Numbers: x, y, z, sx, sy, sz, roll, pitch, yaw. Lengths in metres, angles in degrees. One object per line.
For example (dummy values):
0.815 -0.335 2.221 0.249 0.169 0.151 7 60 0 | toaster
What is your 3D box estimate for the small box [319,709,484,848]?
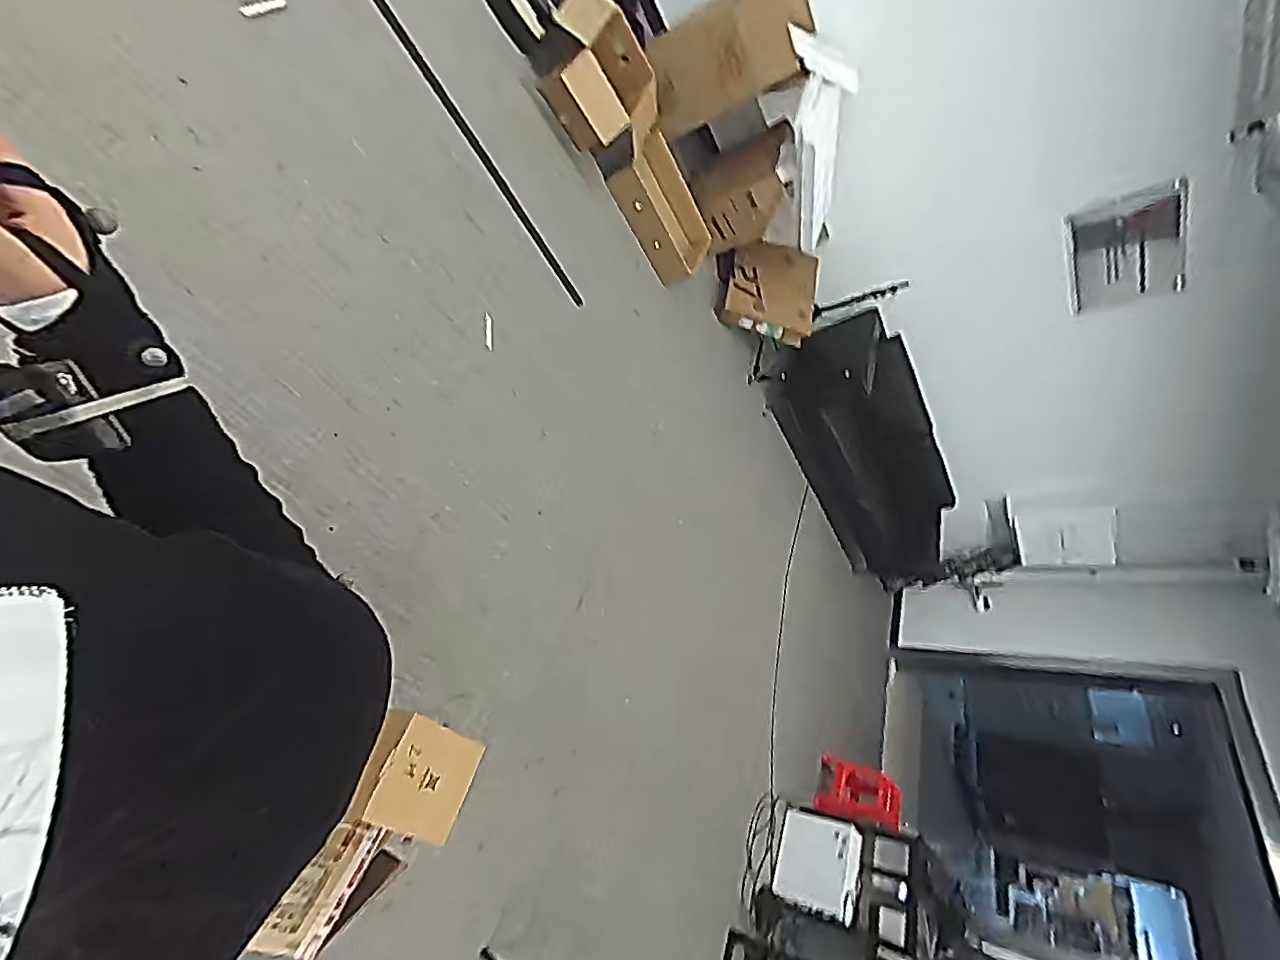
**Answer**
-0.425 0.527 0.973 0.179 0.176 0.168 48 47 -33 | small box
